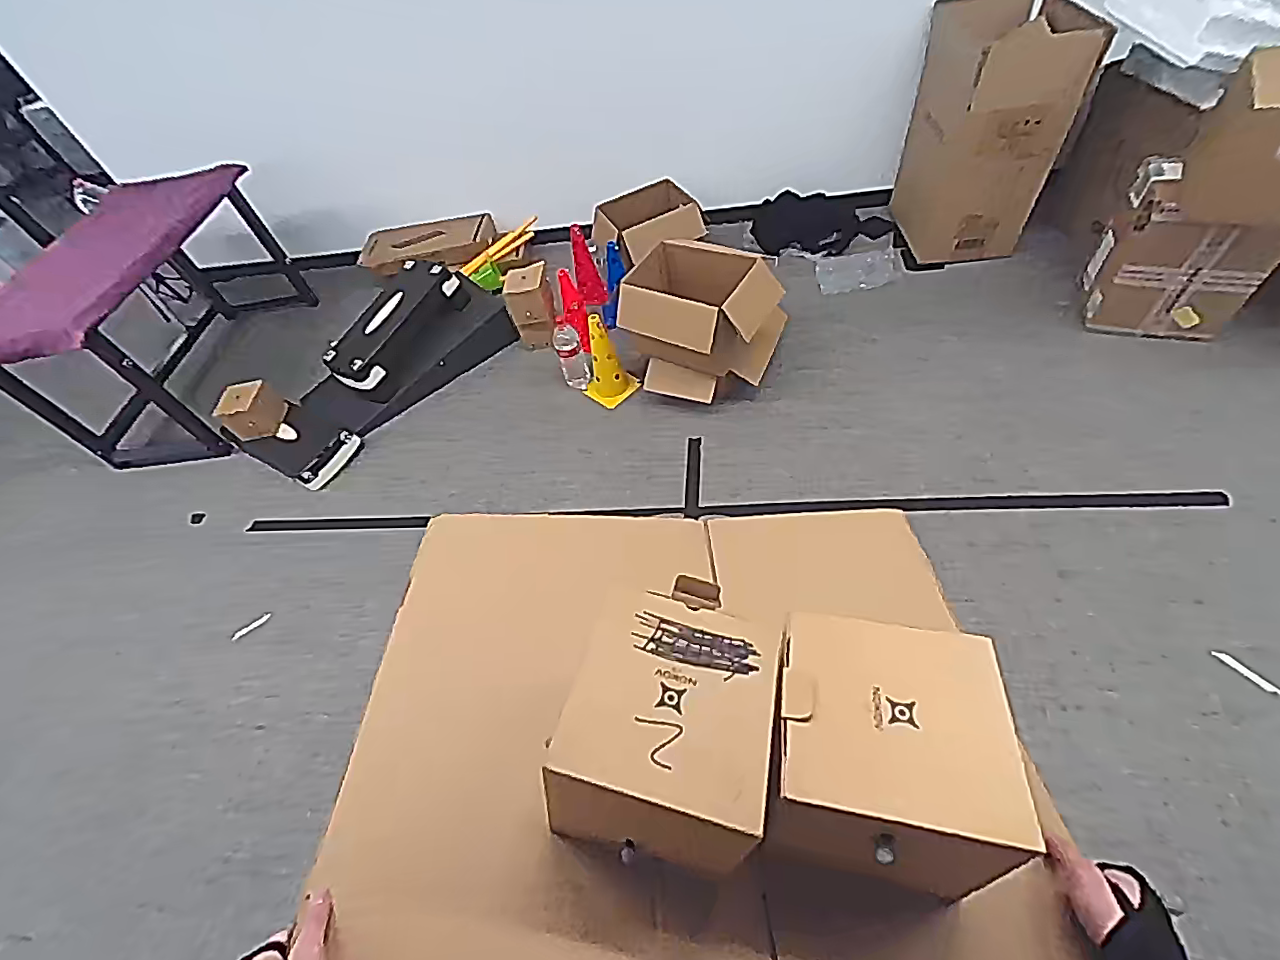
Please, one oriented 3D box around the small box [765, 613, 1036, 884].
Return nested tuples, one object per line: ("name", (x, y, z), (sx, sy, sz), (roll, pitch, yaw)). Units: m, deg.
("small box", (0.216, 0.250, 0.503), (0.179, 0.176, 0.168), (5, 45, 12))
